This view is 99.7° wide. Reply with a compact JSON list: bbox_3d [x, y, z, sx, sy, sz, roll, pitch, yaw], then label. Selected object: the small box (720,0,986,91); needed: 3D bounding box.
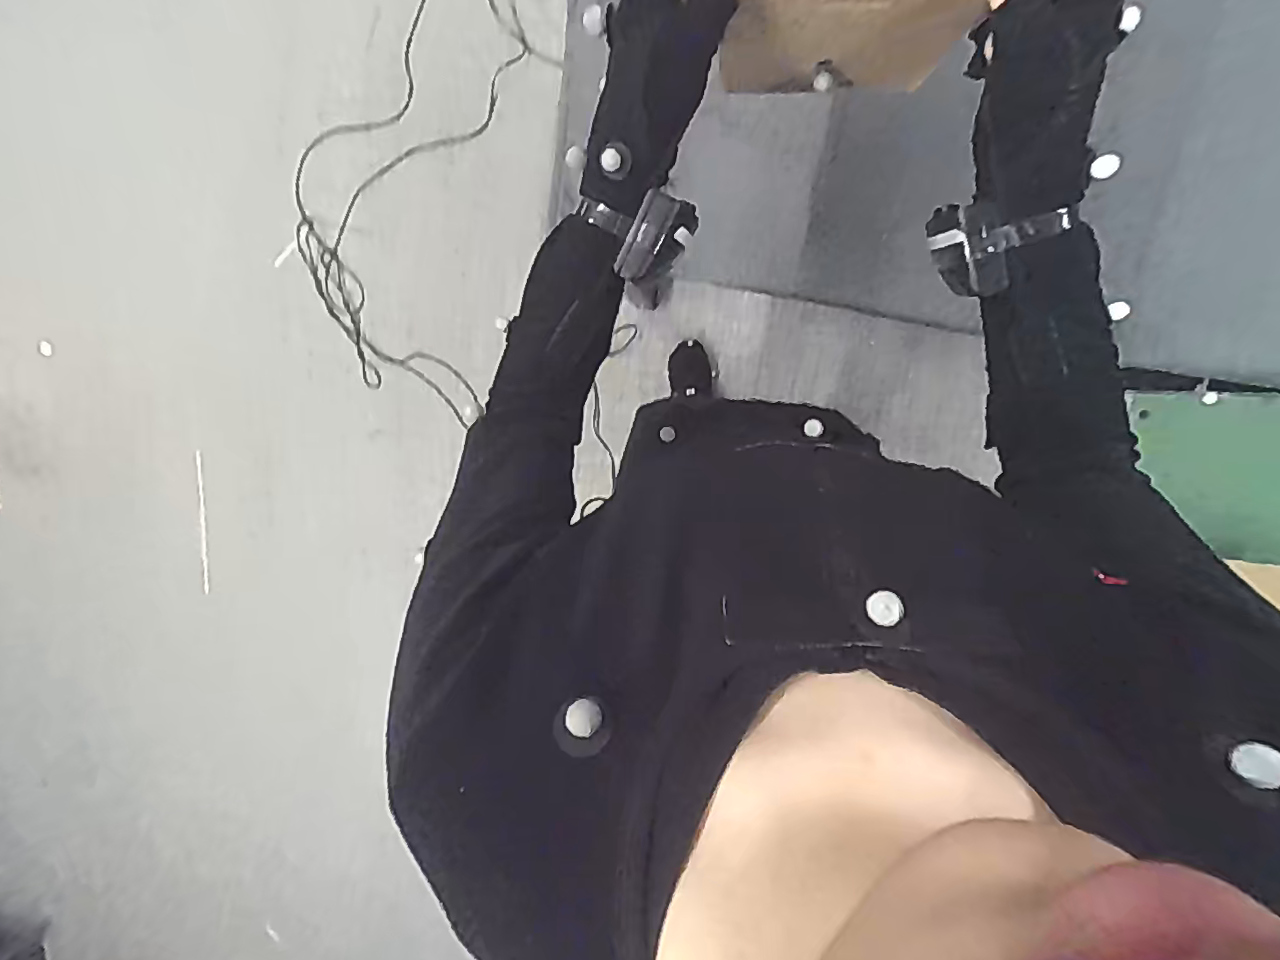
[{"bbox_3d":[0.144,-0.398,0.366,0.168,0.176,0.179,5,108,7],"label":"small box"}]
